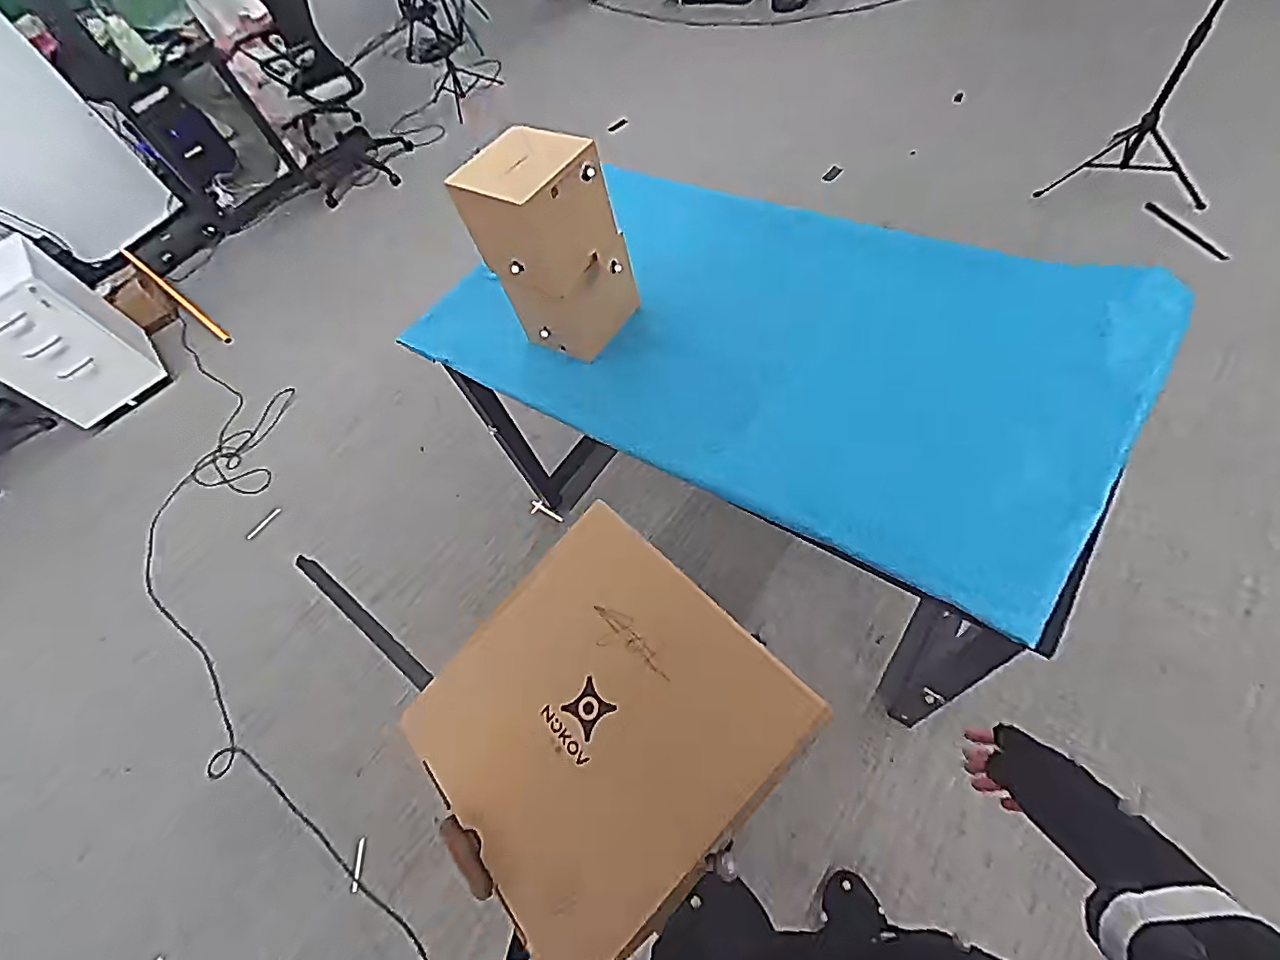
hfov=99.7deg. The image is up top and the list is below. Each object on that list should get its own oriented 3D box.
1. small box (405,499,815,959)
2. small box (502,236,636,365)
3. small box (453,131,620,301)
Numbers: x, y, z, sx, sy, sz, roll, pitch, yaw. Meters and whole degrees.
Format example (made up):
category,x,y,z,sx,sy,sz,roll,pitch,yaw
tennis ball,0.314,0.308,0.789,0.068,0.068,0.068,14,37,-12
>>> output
category,x,y,z,sx,sy,sz,roll,pitch,yaw
small box,-0.004,0.149,0.353,0.179,0.176,0.168,-48,59,-3
small box,-0.124,-0.353,1.017,0.168,0.176,0.179,29,72,29
small box,-0.163,-0.427,0.872,0.179,0.176,0.168,28,69,26
